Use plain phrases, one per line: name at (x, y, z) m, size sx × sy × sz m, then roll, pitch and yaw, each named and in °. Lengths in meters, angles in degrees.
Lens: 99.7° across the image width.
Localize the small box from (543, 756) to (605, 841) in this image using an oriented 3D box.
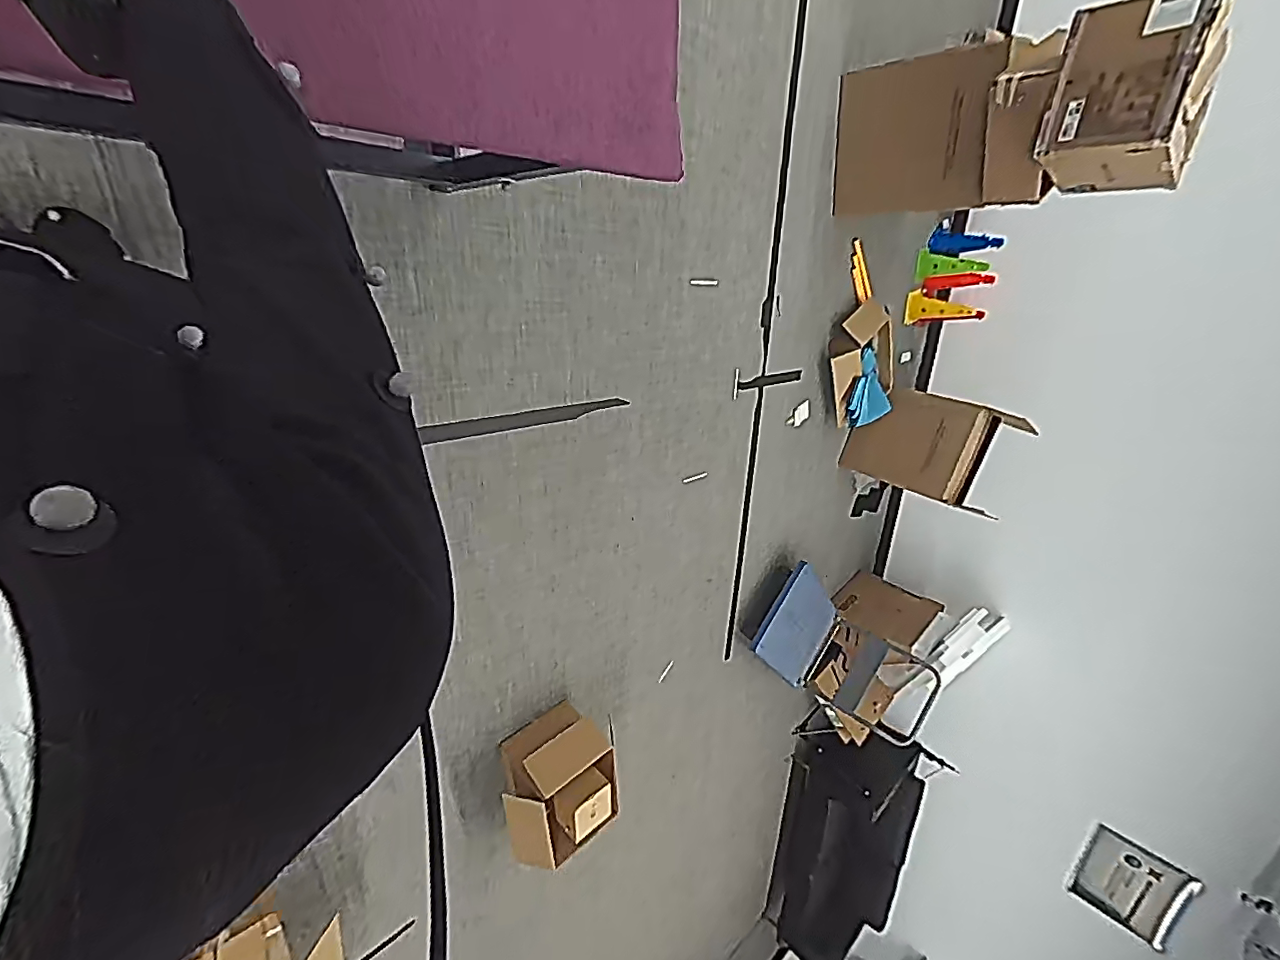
small box at (-0.247, 1.174, 2.008) m, size 0.168 × 0.176 × 0.179 m, roll -20°, pitch 120°, yaw -40°
